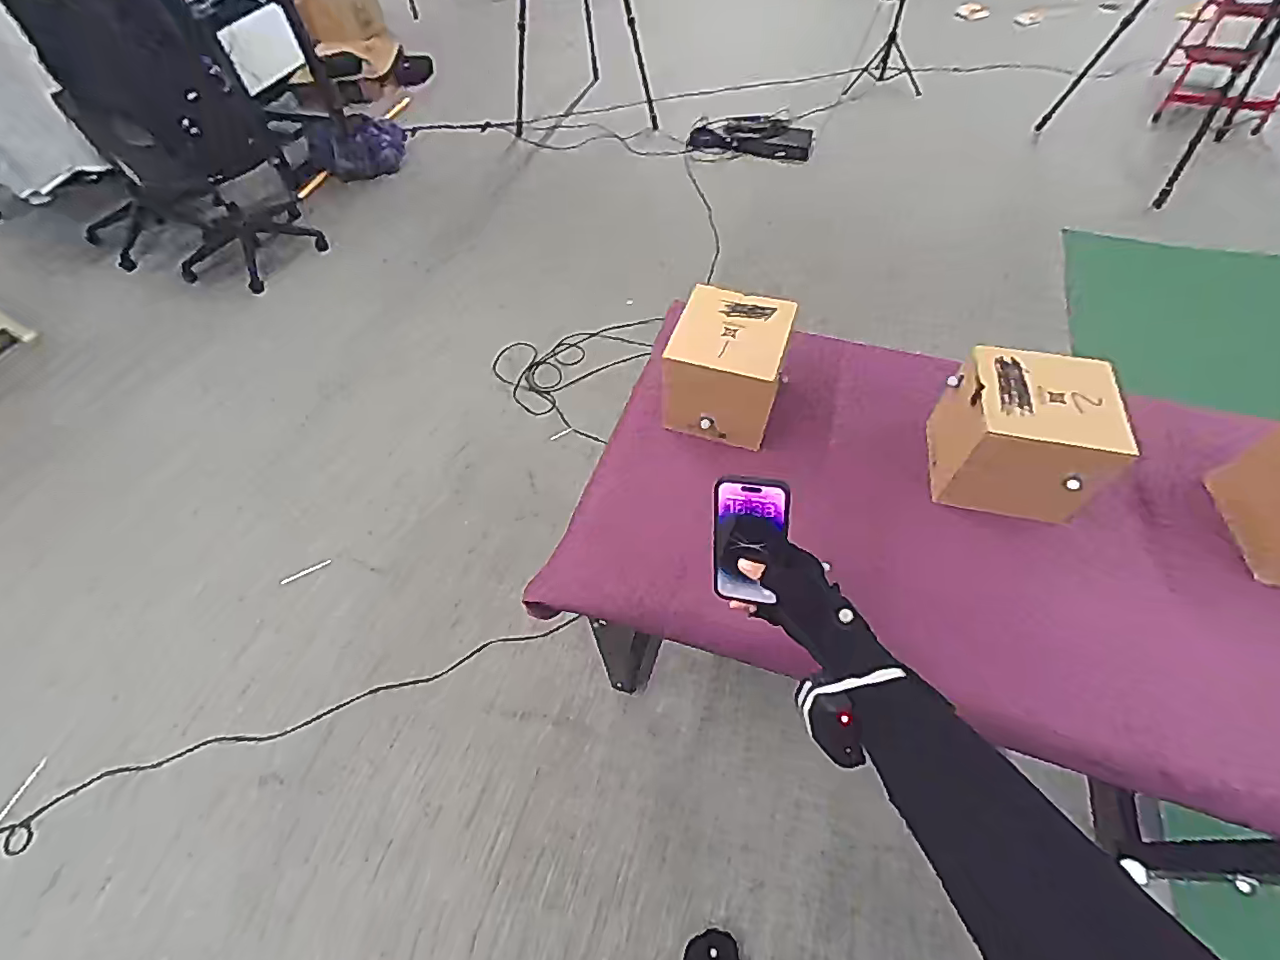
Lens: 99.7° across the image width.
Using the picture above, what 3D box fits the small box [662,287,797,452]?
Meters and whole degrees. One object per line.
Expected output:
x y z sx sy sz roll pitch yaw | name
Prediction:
0.139 -0.176 0.870 0.168 0.176 0.179 16 59 13 | small box

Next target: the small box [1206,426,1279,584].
0.904 0.036 0.687 0.168 0.176 0.179 6 55 8 | small box
